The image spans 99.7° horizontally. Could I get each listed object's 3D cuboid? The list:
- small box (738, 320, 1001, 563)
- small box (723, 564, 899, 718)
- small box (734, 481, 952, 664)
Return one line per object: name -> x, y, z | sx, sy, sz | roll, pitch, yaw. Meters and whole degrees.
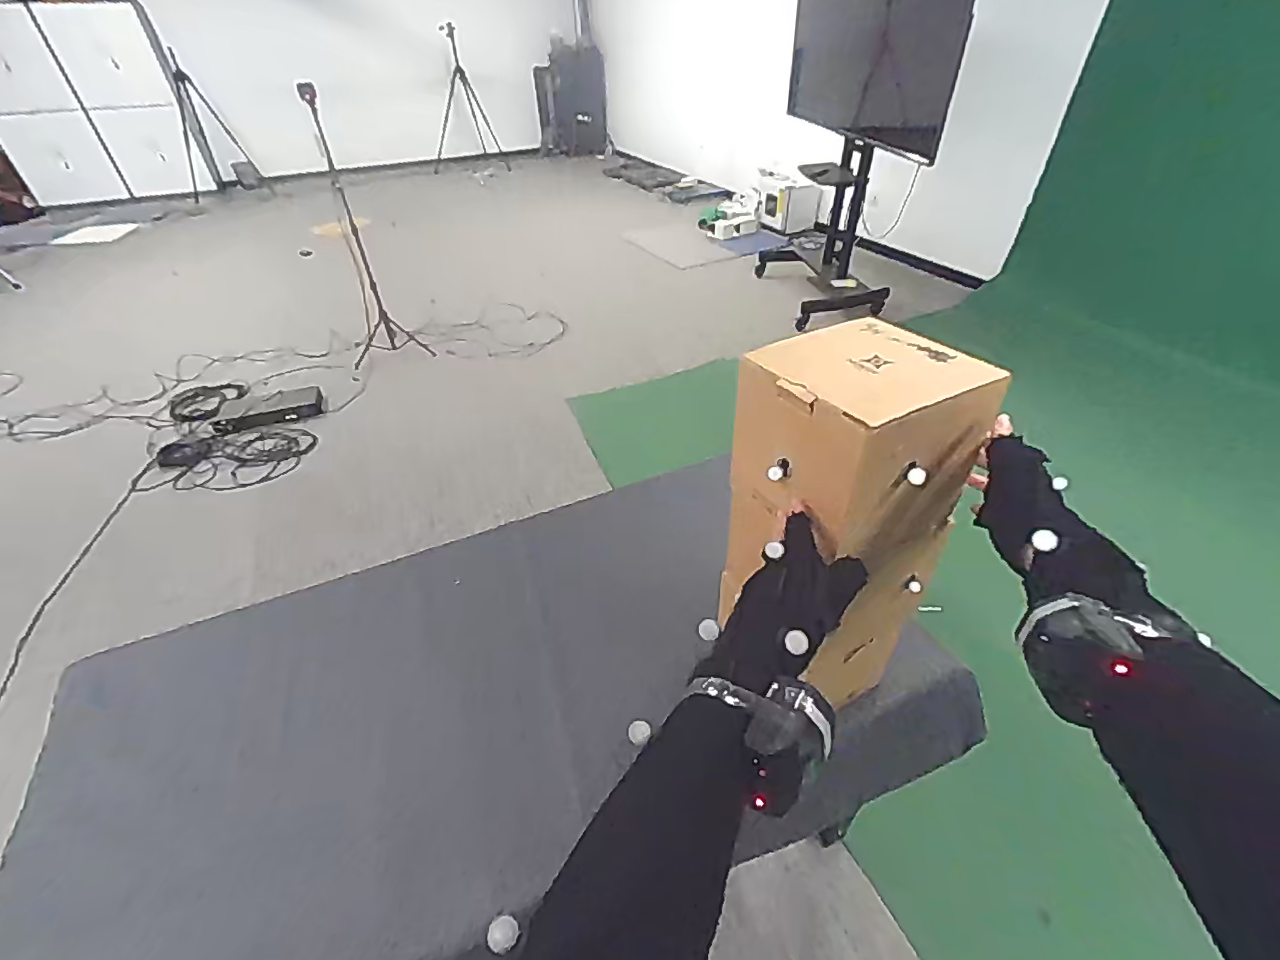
small box -> 0.218, -0.043, 0.561 | 0.179, 0.176, 0.168 | -20, 41, -20
small box -> 0.233, 0.206, 0.769 | 0.168, 0.176, 0.179 | -20, 41, -20
small box -> 0.230, 0.087, 0.660 | 0.179, 0.176, 0.168 | -20, 41, -18
